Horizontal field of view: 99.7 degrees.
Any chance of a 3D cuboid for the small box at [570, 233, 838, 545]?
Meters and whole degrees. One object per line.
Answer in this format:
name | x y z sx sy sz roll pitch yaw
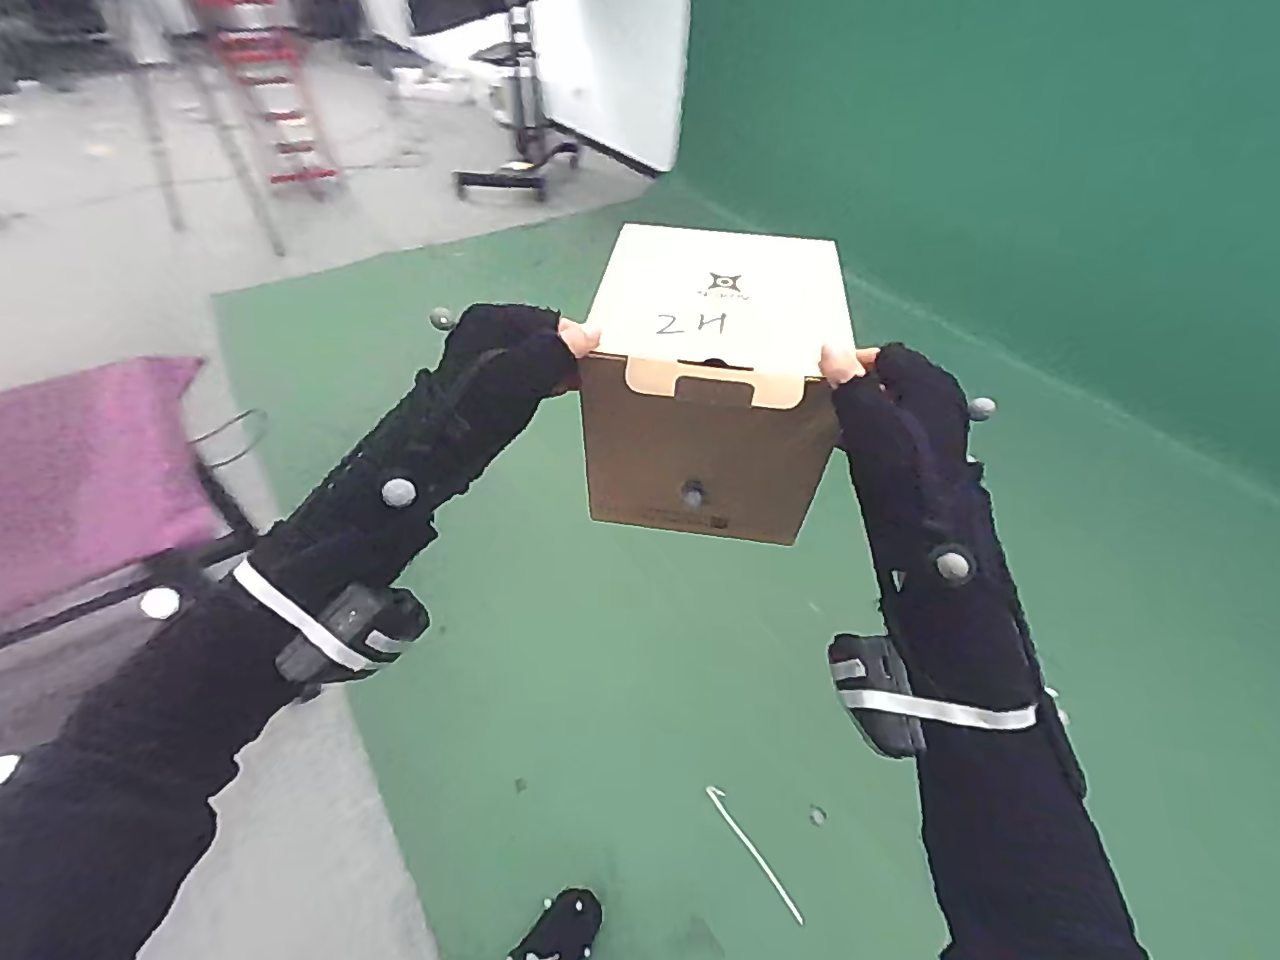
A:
small box | 0.046 -0.073 0.438 0.168 0.176 0.179 7 50 4
